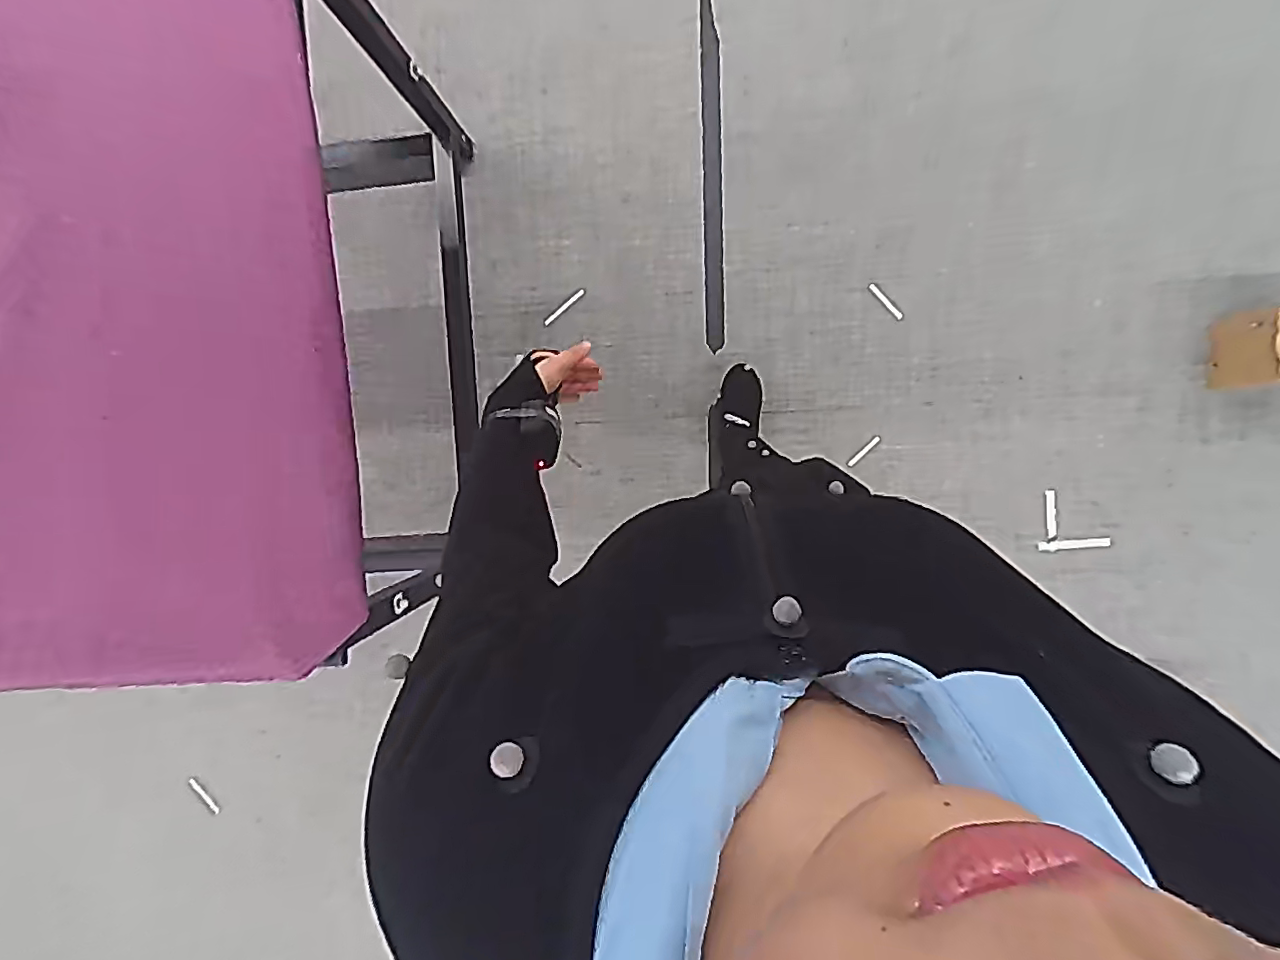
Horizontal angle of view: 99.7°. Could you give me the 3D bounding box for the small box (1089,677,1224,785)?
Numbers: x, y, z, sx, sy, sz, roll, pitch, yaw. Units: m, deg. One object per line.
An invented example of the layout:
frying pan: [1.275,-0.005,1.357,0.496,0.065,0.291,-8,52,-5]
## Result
small box: [1.255,0.605,1.327,0.168,0.176,0.179,7,94,6]
